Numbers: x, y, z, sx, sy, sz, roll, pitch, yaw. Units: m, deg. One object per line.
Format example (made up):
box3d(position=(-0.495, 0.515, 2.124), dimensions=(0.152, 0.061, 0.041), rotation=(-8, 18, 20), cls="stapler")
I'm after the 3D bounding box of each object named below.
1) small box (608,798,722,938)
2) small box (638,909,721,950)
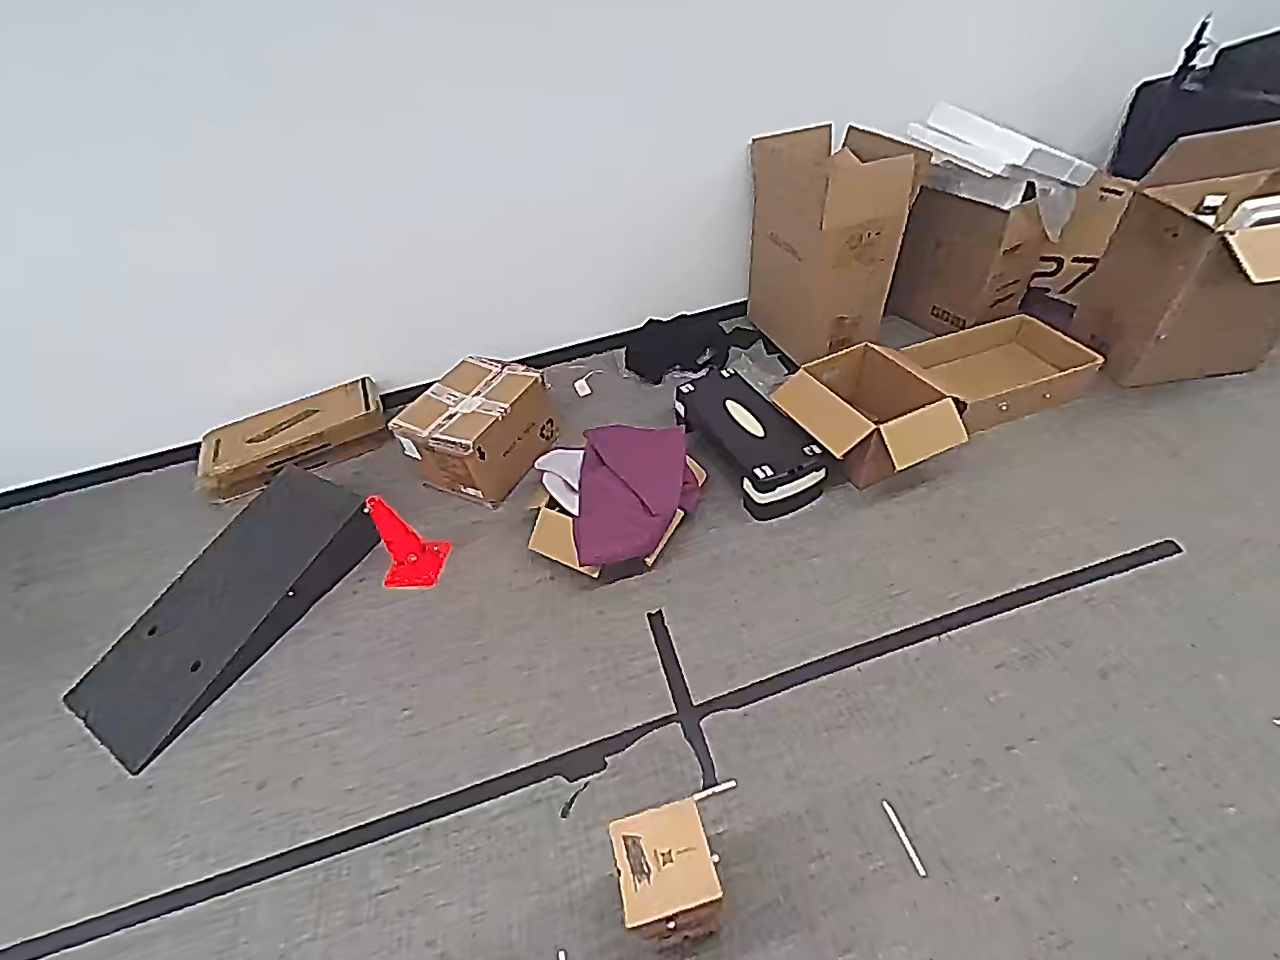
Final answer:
box3d(position=(0.050, 0.744, 1.035), dimensions=(0.179, 0.176, 0.168), rotation=(-15, 45, -5), cls="small box")
box3d(position=(0.070, 0.865, 1.148), dimensions=(0.168, 0.176, 0.179), rotation=(-15, 46, -5), cls="small box")
